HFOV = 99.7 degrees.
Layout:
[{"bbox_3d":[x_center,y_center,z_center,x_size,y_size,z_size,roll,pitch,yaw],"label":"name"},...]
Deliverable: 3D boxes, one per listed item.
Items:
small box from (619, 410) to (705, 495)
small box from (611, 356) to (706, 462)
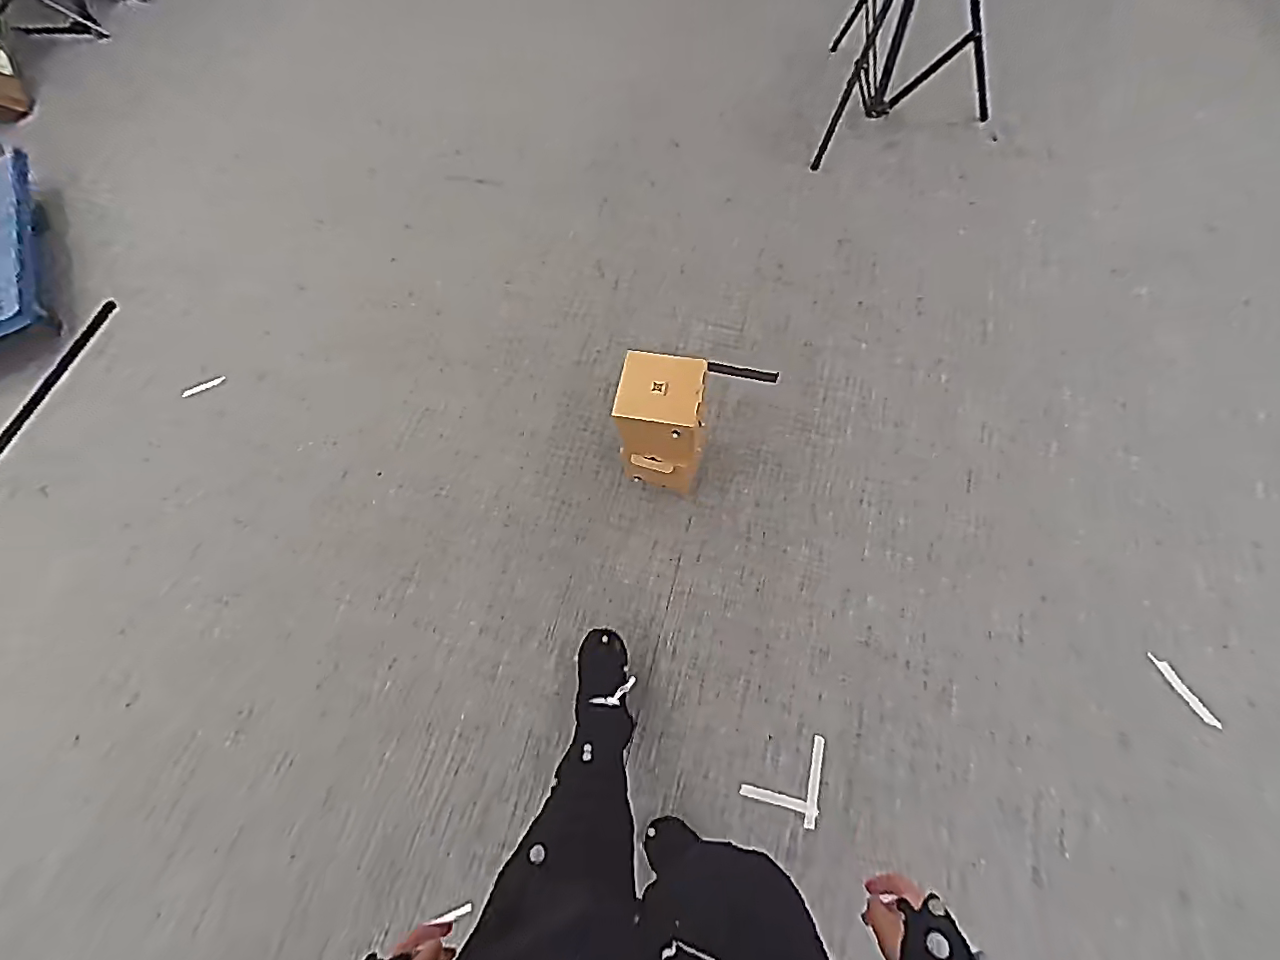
[{"bbox_3d":[0.062,-0.082,1.343,0.168,0.176,0.179,15,69,11],"label":"small box"},{"bbox_3d":[0.047,-0.152,1.197,0.179,0.176,0.168,8,69,8],"label":"small box"}]
